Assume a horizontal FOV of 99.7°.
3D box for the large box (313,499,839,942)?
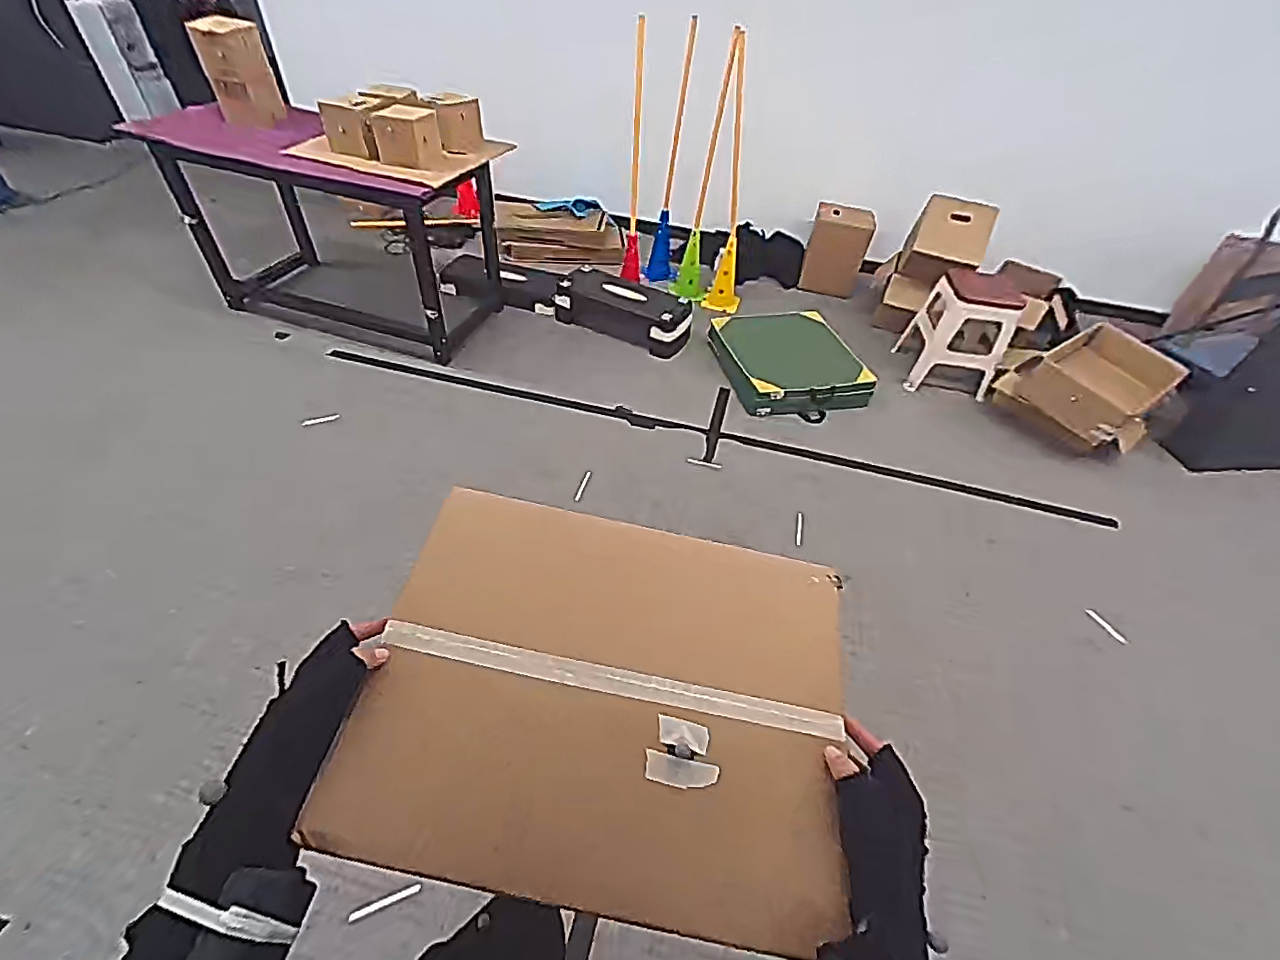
[{"bbox_3d":[-0.043,0.262,0.602,0.408,0.320,0.320,12,56,0],"label":"large box"}]
